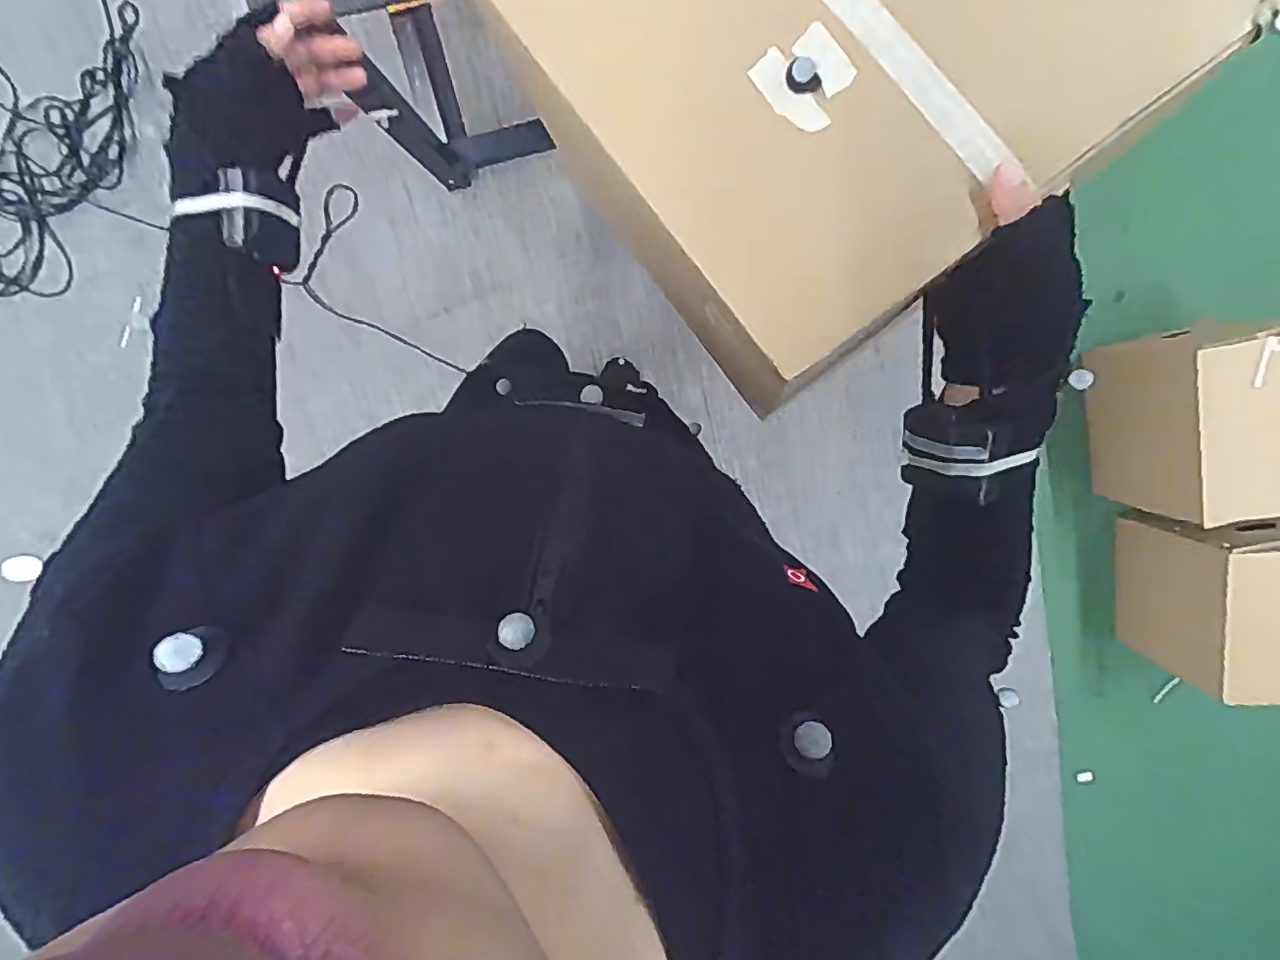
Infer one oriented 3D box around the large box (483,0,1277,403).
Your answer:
[{"bbox_3d":[0.120,-0.325,0.462,0.320,0.320,0.408,-37,86,10],"label":"large box"}]
